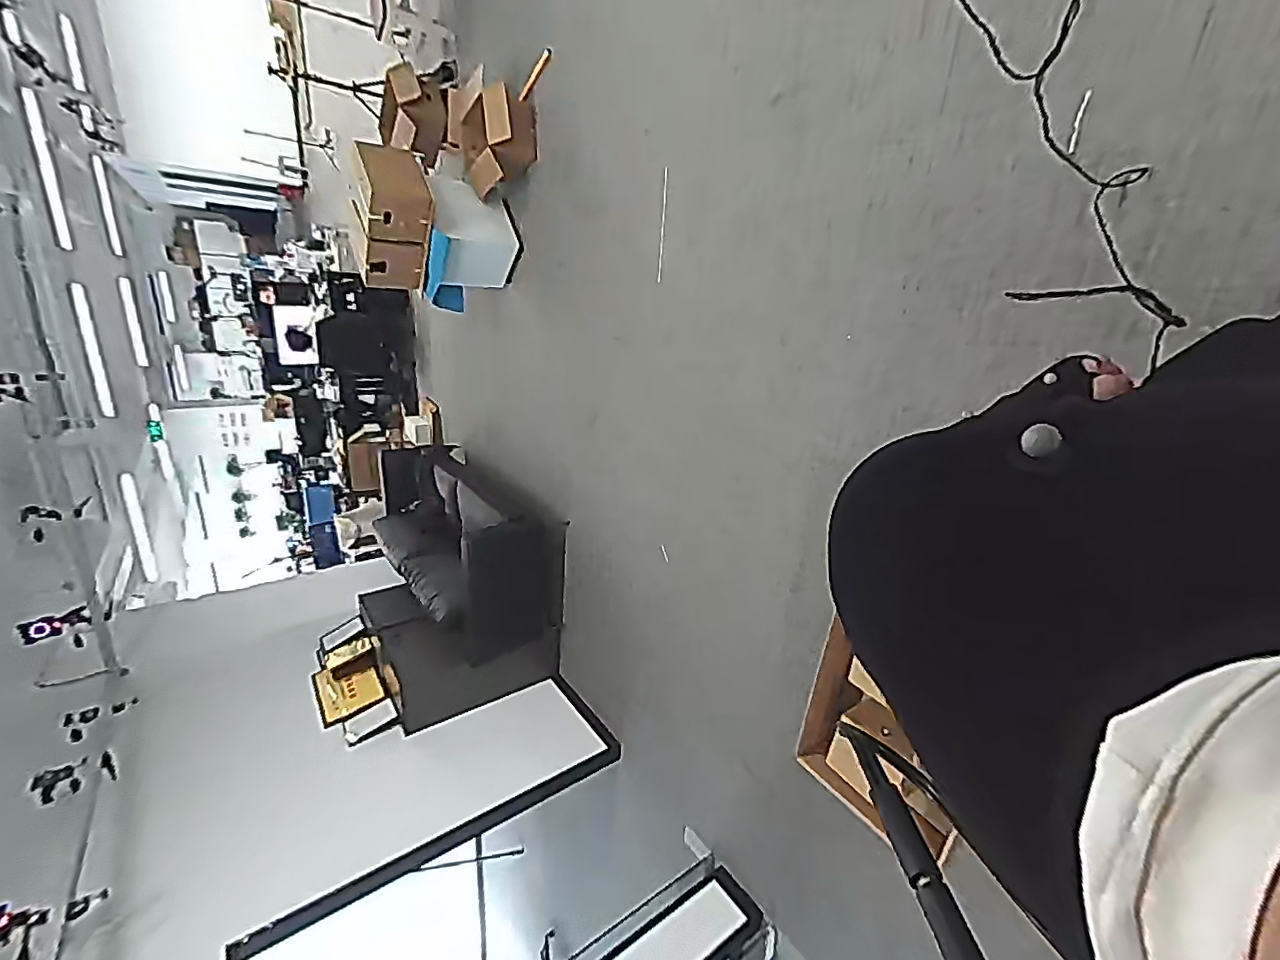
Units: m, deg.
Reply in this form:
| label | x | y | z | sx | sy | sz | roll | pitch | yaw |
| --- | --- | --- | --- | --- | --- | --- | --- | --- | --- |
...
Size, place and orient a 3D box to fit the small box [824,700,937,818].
| label | x | y | z | sx | sy | sz | roll | pitch | yaw |
| --- | --- | --- | --- | --- | --- | --- | --- | --- | --- |
| small box | 0.593 | 0.670 | 1.332 | 0.179 | 0.176 | 0.168 | 33 | 123 | 45 |
